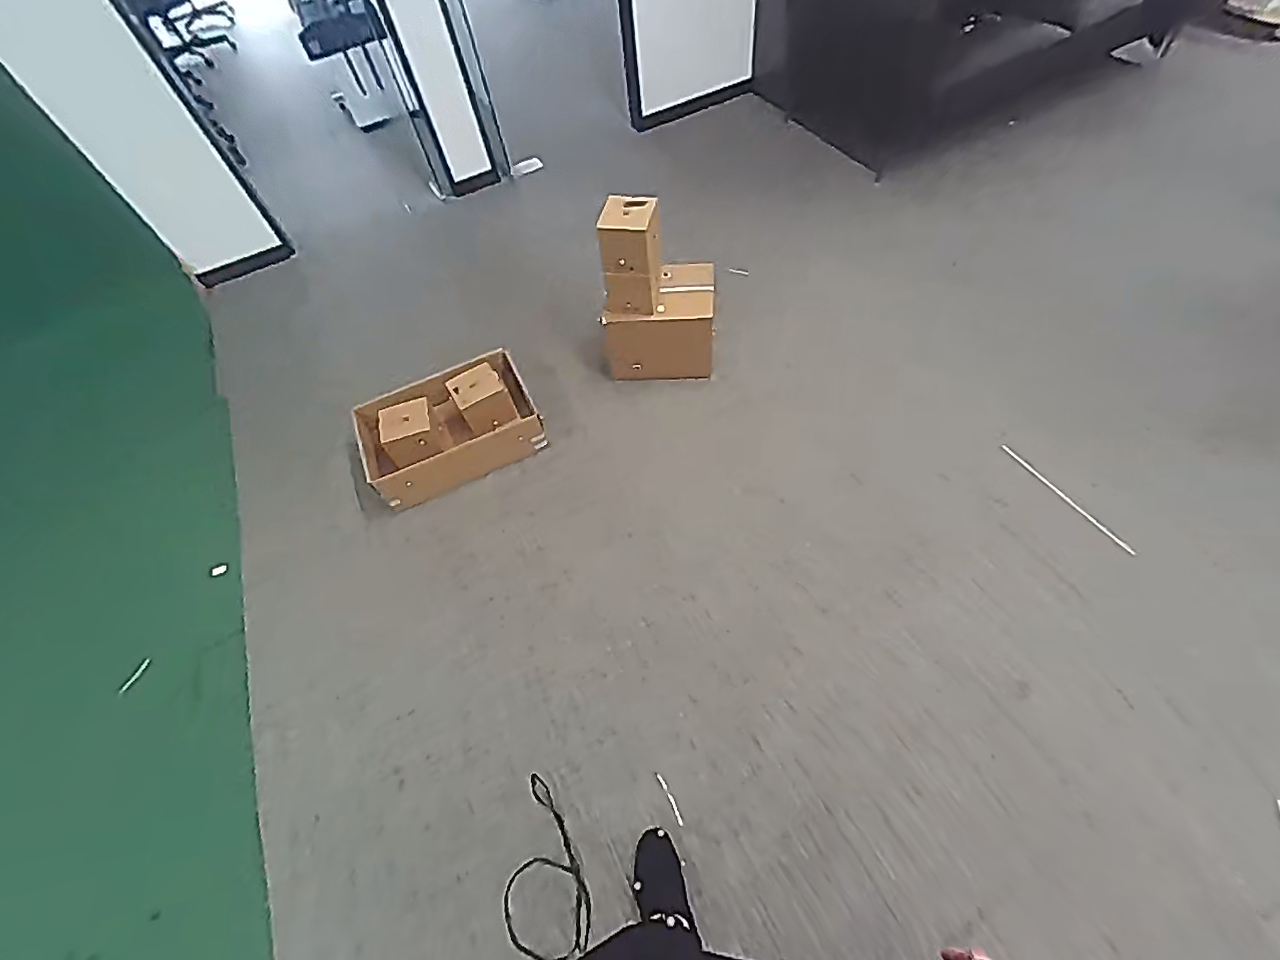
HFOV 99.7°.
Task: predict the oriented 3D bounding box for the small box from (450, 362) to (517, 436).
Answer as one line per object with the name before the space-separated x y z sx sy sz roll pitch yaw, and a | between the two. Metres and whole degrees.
small box | -0.579 -0.301 2.025 0.179 0.176 0.168 -29 59 -12

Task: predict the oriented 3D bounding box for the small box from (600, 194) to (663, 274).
small box | -0.021 -0.808 1.779 0.168 0.176 0.179 9 60 12
